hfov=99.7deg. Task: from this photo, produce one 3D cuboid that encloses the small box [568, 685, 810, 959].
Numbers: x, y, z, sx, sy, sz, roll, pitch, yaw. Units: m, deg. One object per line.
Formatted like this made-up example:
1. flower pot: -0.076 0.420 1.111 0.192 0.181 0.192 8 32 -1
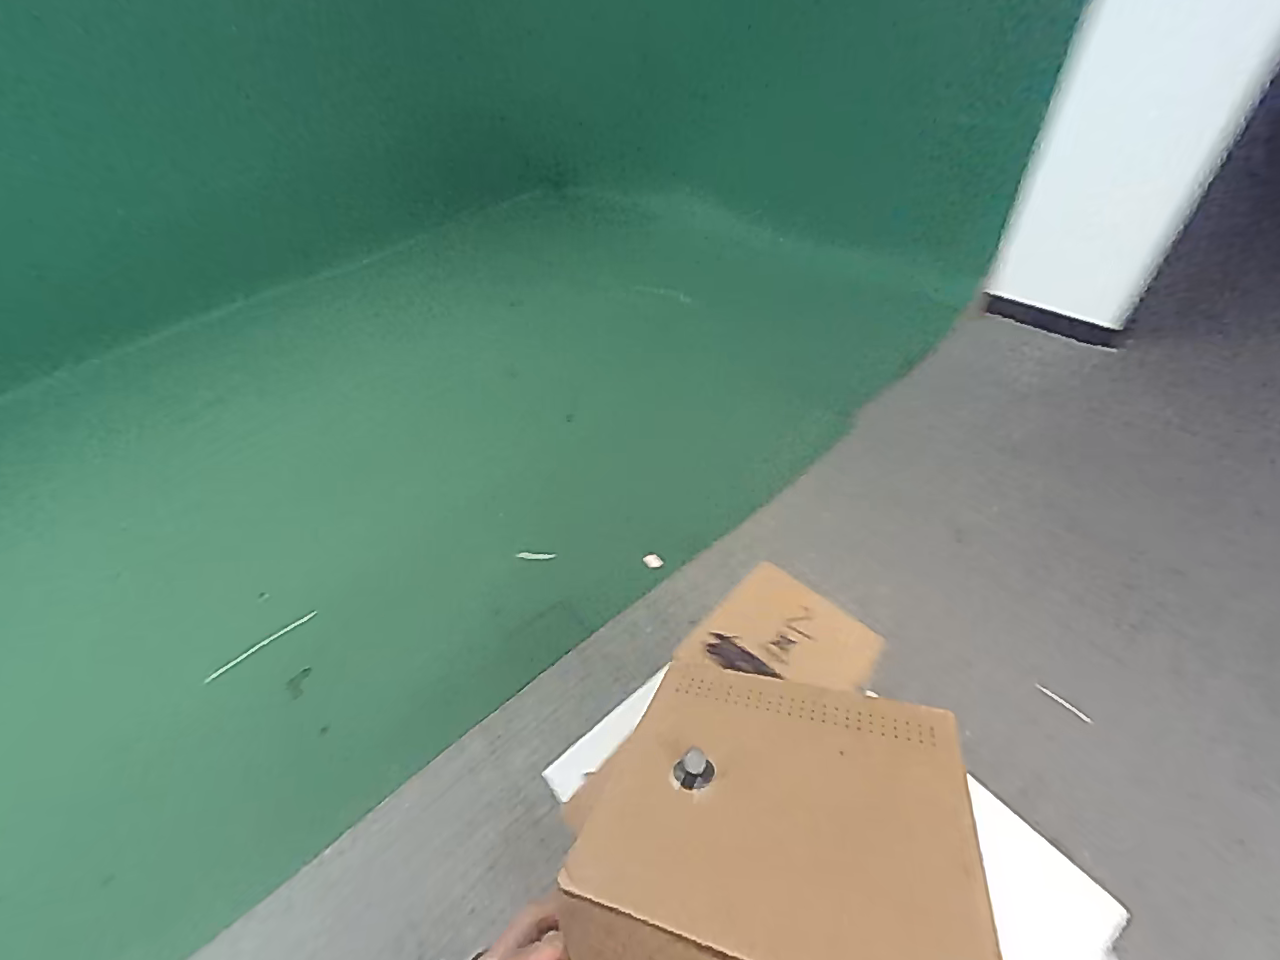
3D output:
1. small box: 0.051 0.363 0.573 0.179 0.176 0.168 -38 53 -25
